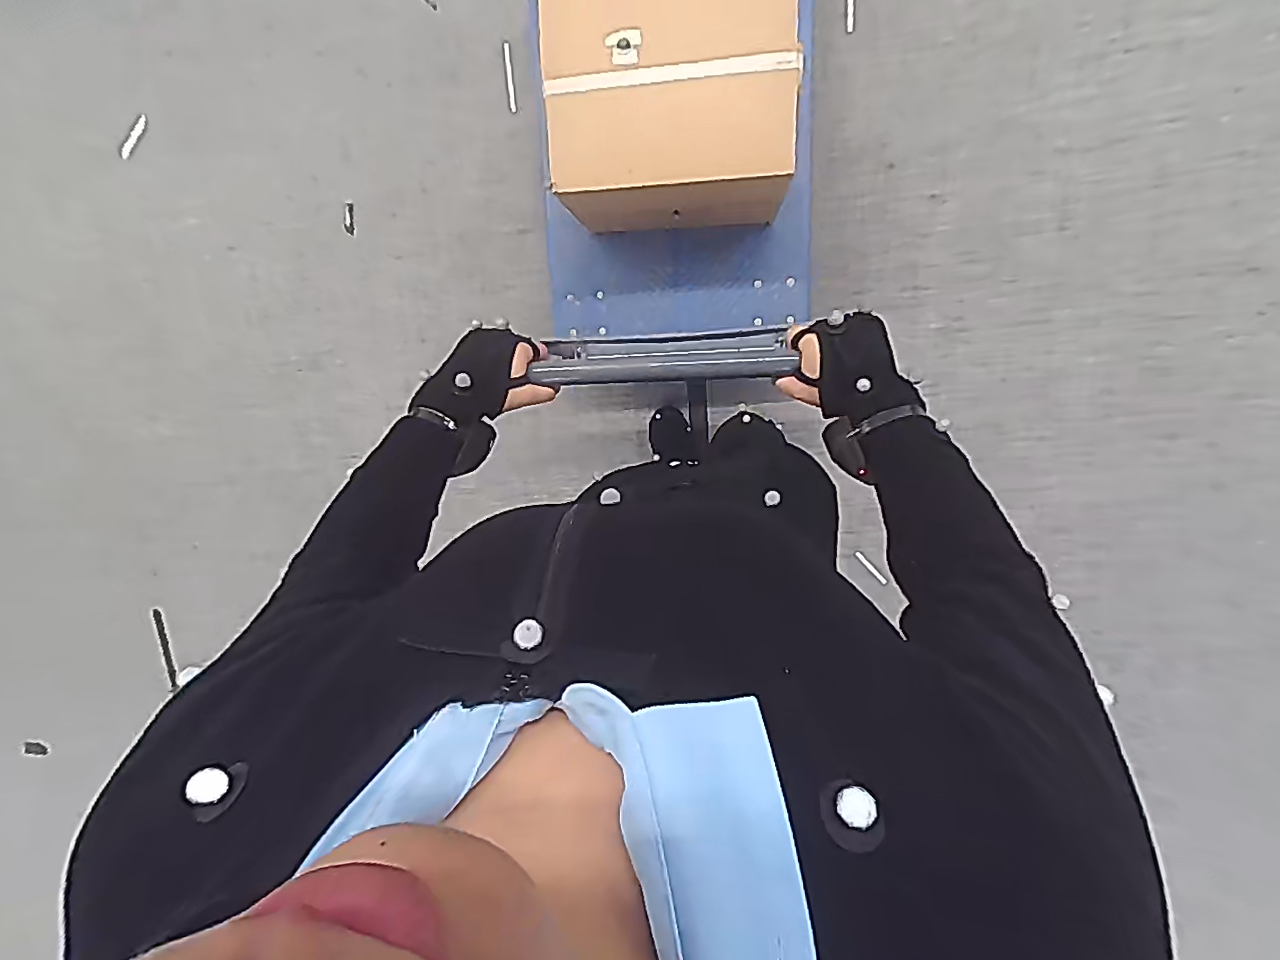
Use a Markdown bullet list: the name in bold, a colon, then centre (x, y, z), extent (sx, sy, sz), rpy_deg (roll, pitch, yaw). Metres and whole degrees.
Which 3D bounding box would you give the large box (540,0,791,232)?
- **large box**: centre (0.063, -0.680, 1.023), extent (0.408, 0.320, 0.320), rpy_deg (-1, 101, 8)
